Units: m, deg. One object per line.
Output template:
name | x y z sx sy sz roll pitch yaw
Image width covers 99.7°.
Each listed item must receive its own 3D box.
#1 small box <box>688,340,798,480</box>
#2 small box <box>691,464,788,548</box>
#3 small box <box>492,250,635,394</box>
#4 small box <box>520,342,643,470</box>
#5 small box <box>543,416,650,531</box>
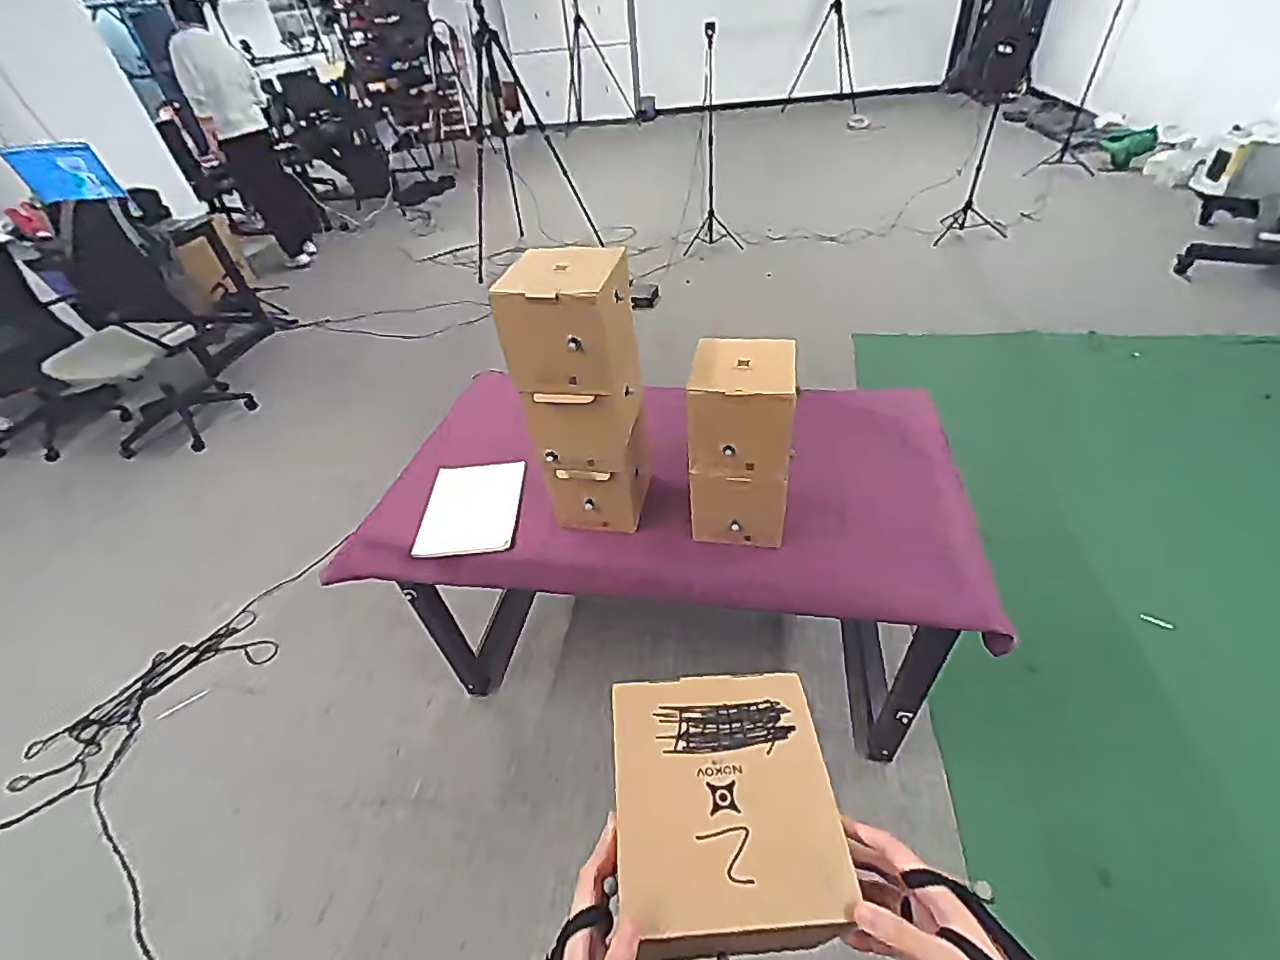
small box | 0.176 -0.122 0.927 0.168 0.176 0.179 4 42 12
small box | 0.191 0.003 1.029 0.168 0.176 0.179 4 42 13
small box | -0.108 -0.252 0.865 0.168 0.176 0.179 5 43 12
small box | -0.092 -0.134 0.977 0.168 0.176 0.179 4 42 12
small box | -0.076 -0.017 1.091 0.168 0.176 0.179 4 44 12
